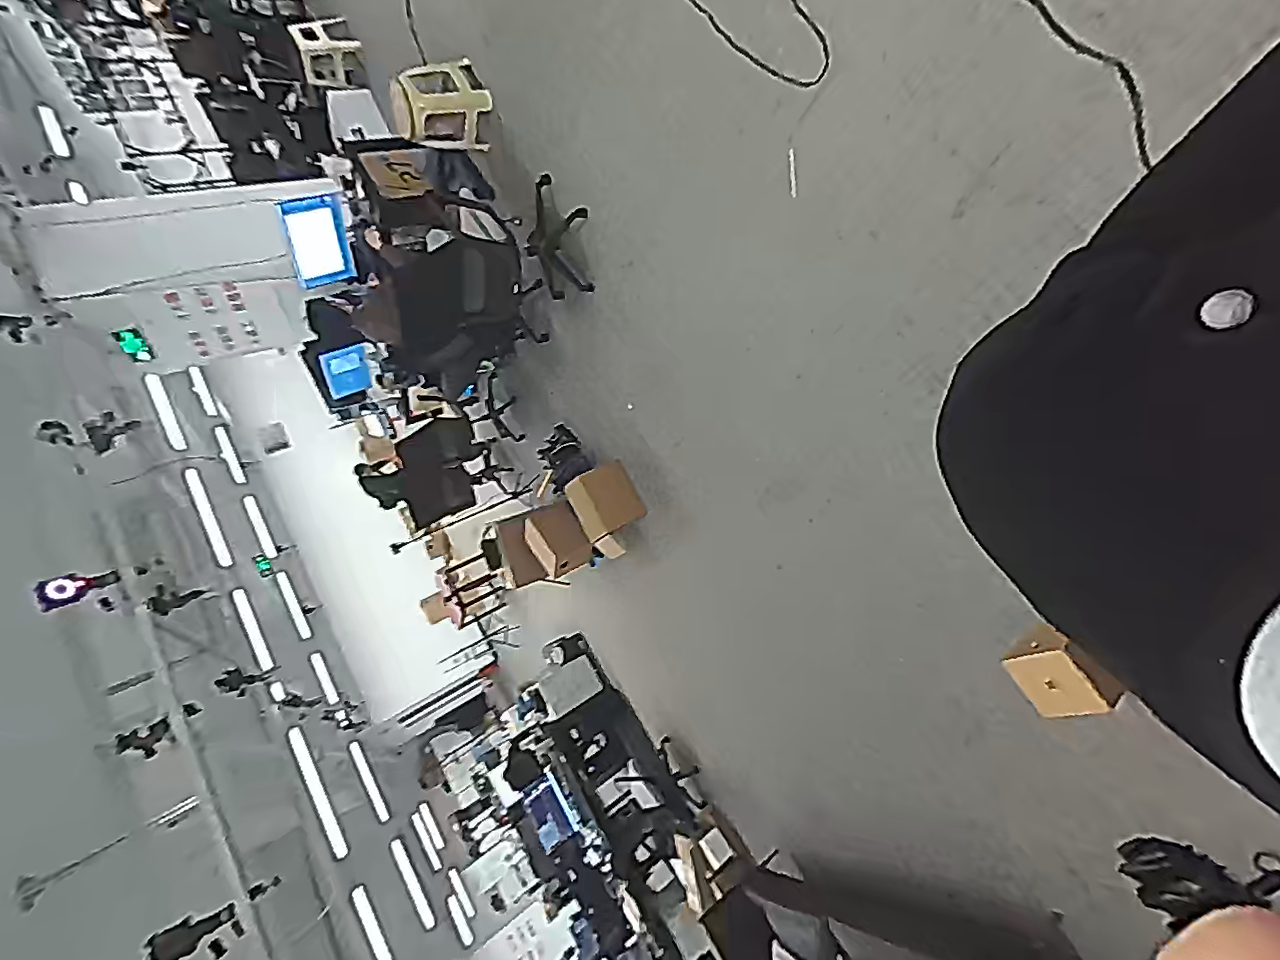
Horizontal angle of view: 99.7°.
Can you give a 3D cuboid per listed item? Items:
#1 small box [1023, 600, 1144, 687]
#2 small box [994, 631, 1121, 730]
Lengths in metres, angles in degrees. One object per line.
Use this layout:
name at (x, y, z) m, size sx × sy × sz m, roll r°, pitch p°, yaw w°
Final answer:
small box at (1.189, 0.446, 1.443) m, size 0.168 × 0.176 × 0.179 m, roll 56°, pitch 149°, yaw 16°
small box at (1.059, 0.504, 1.366) m, size 0.168 × 0.176 × 0.179 m, roll 58°, pitch 152°, yaw 16°
